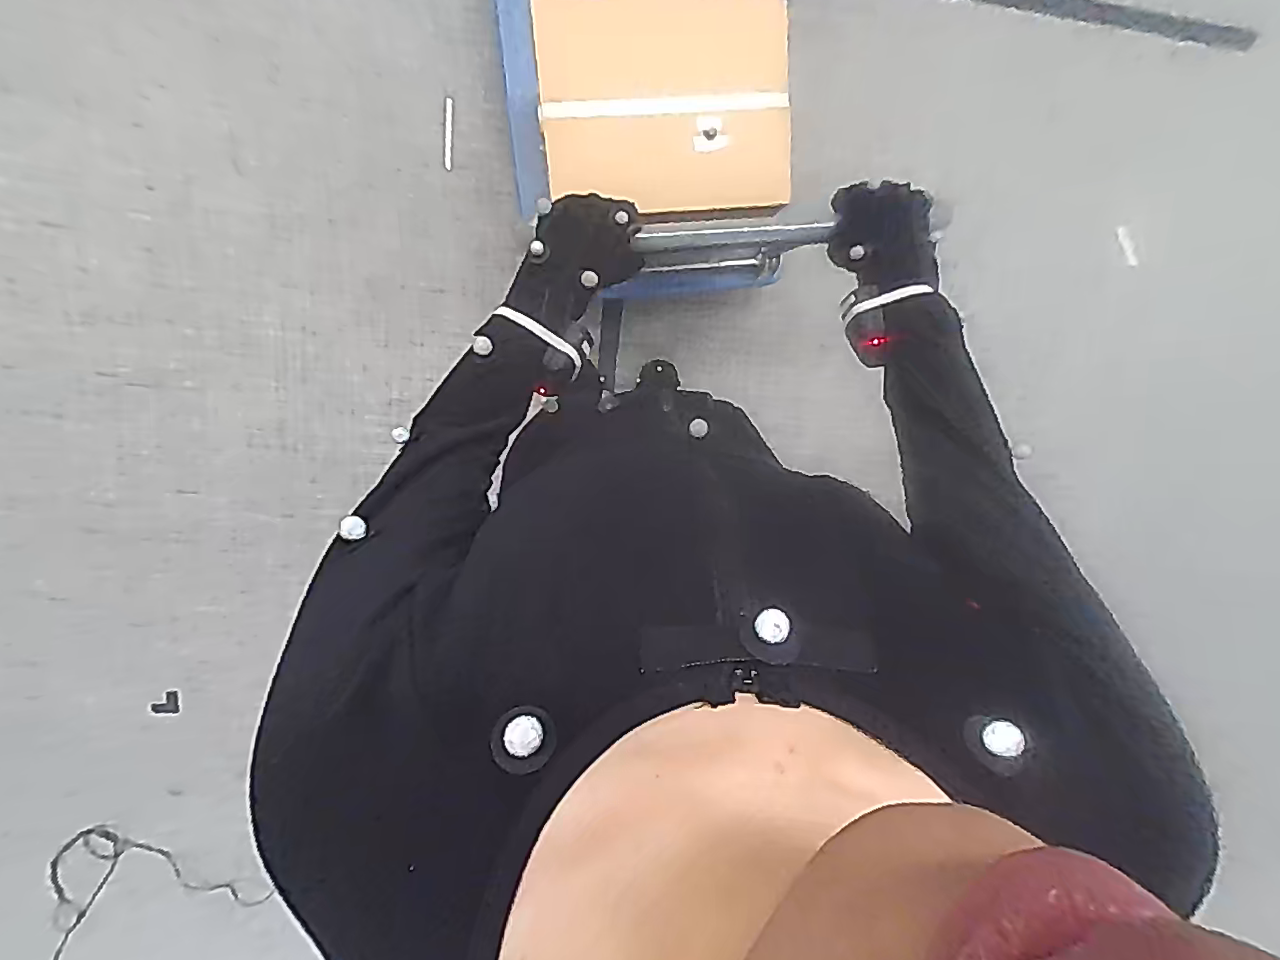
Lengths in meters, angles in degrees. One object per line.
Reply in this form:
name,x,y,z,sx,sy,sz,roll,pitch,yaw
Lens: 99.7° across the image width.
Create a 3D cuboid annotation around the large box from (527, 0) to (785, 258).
large box,0.019,-0.622,1.014,0.408,0.320,0.320,-6,104,-6
